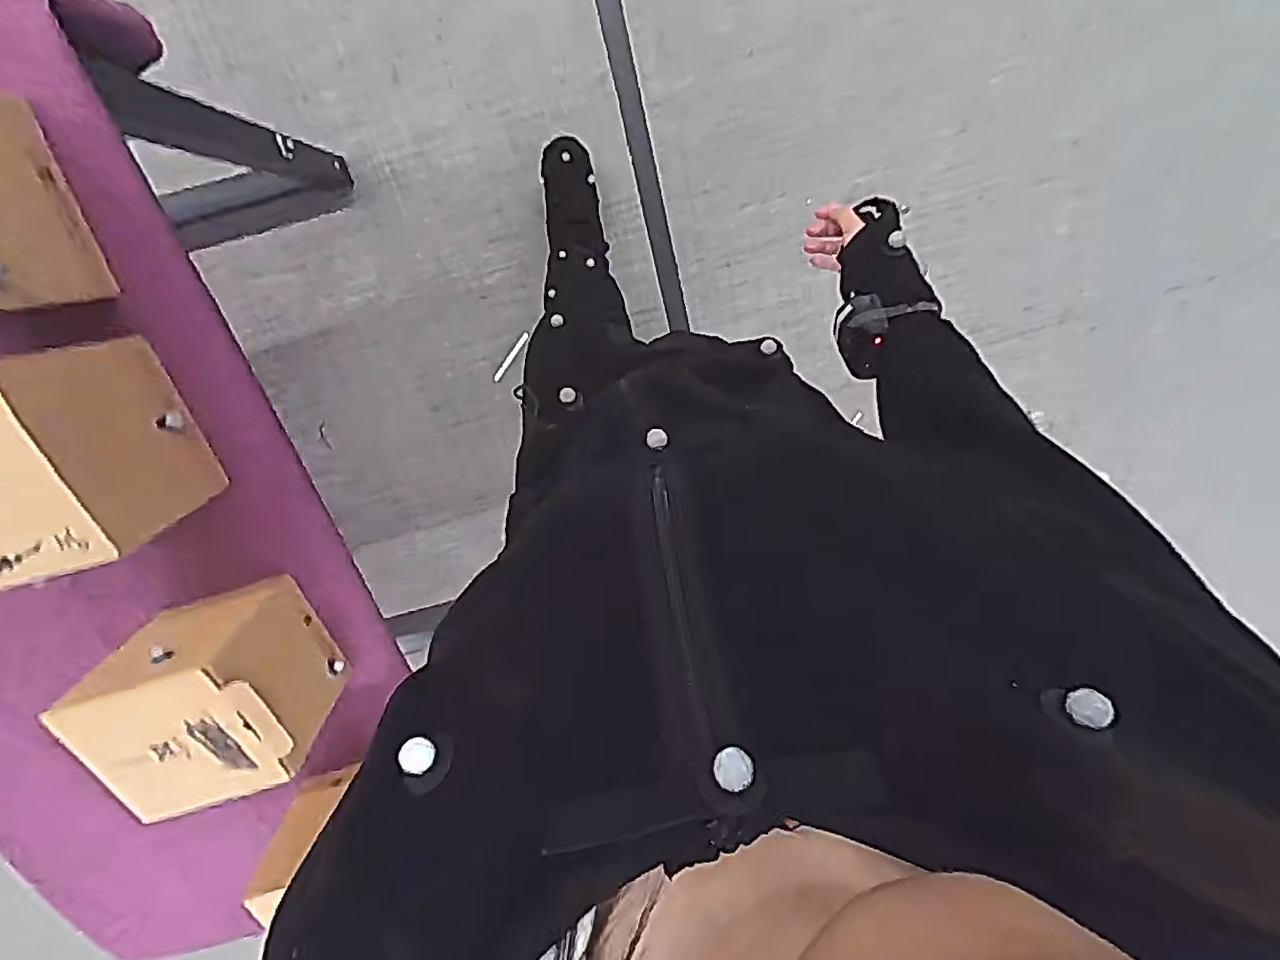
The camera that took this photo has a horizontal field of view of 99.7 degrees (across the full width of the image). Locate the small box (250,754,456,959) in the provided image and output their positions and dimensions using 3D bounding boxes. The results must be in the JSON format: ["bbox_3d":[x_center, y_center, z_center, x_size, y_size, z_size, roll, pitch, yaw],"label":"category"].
[{"bbox_3d":[-0.379,0.527,0.757,0.168,0.176,0.179,-17,113,1],"label":"small box"}]

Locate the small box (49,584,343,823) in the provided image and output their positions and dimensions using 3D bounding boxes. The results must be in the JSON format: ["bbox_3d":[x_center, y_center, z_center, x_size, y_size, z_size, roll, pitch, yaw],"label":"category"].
[{"bbox_3d":[-0.478,0.245,0.627,0.179,0.176,0.168,-17,113,2],"label":"small box"}]
